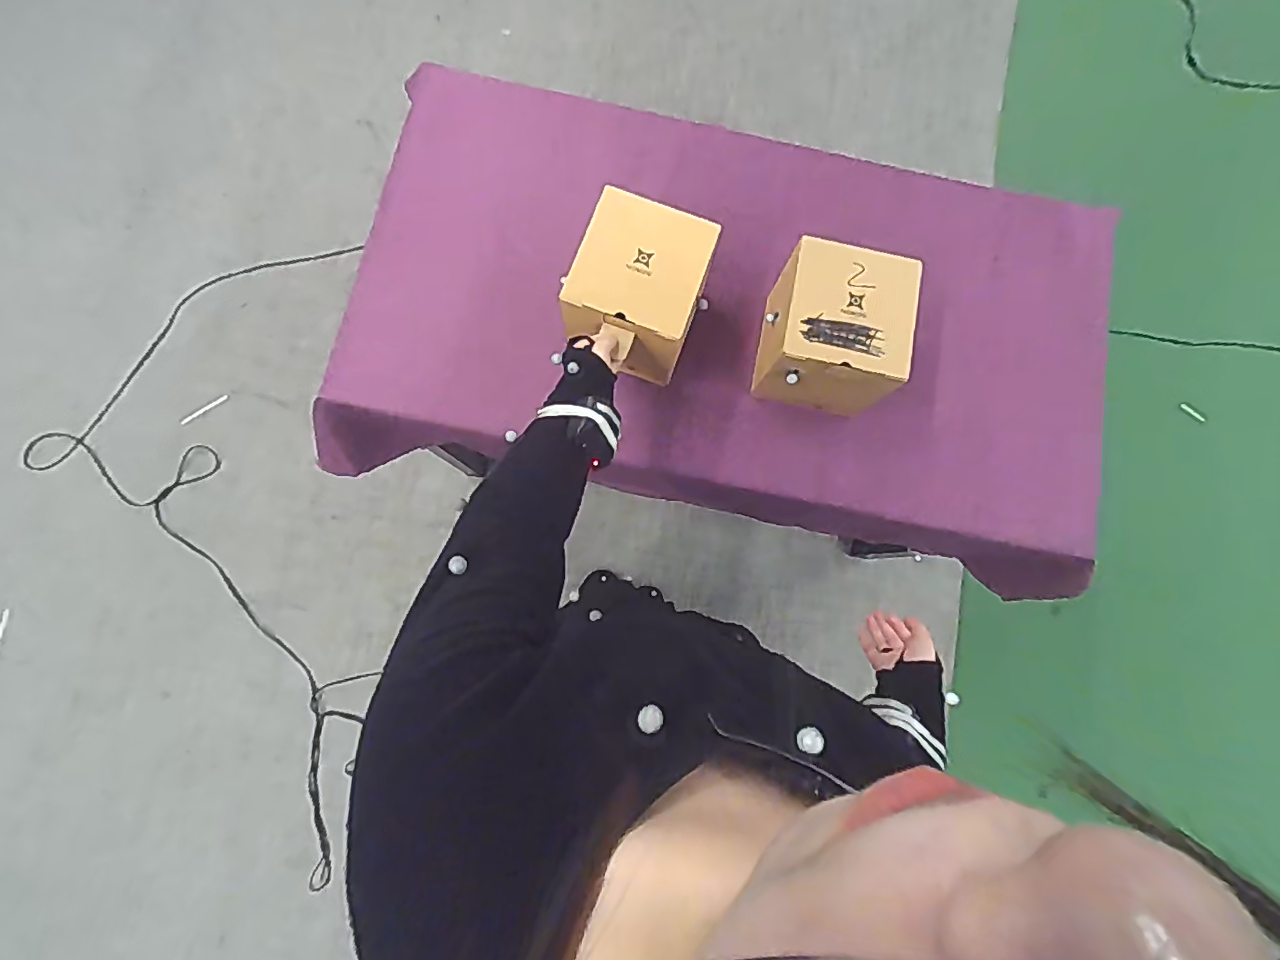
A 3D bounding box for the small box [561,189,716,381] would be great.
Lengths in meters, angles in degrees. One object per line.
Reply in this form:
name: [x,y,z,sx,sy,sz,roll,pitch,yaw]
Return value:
small box: [-0.006,-0.273,0.792,0.168,0.176,0.179,20,81,0]
